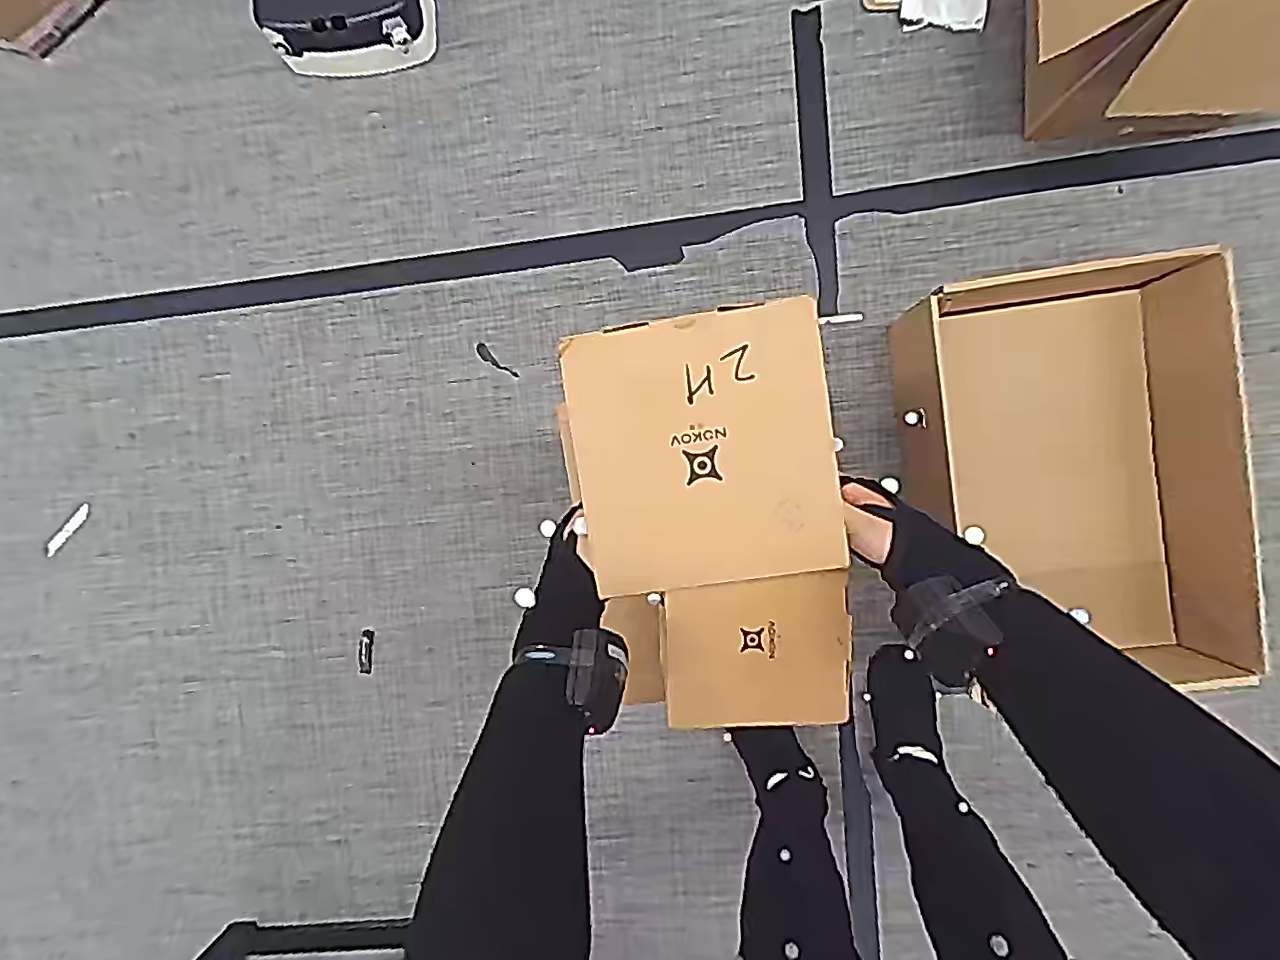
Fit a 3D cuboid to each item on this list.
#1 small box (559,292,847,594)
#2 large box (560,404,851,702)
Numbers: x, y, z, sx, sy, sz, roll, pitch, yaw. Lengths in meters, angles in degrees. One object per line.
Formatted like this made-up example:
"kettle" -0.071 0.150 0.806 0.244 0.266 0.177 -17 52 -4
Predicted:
"small box" 0.047 -0.026 0.422 0.168 0.176 0.179 -8 93 5
"large box" 0.092 0.061 0.833 0.320 0.320 0.408 -10 92 5
